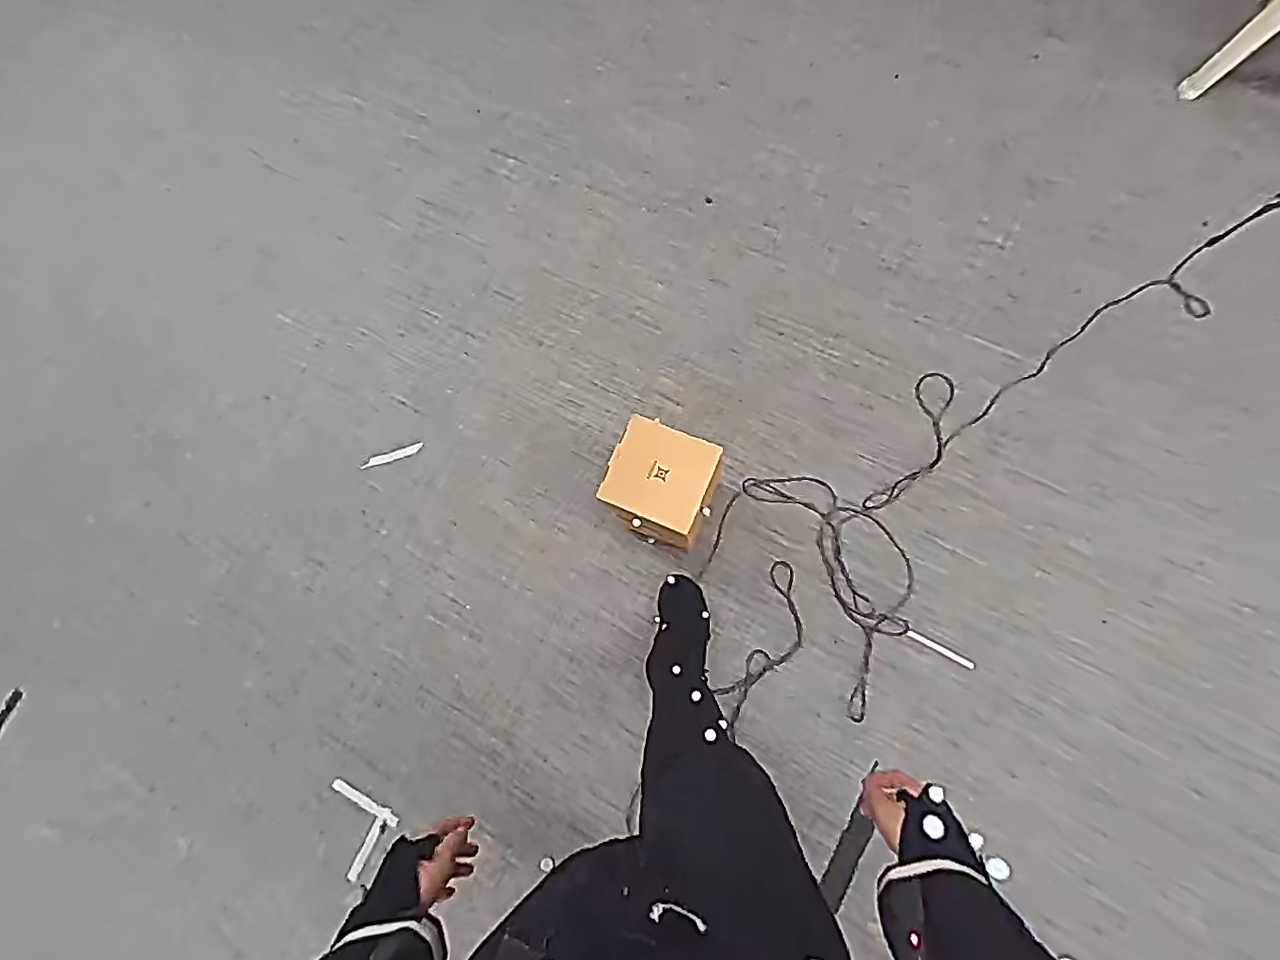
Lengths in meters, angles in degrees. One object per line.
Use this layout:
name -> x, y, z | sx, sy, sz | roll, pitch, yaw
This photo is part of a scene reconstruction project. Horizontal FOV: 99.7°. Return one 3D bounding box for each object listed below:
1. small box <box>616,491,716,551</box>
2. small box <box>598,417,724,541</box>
small box -> 0.065, 0.040, 1.165 | 0.168, 0.176, 0.179 | 19, 82, 12
small box -> 0.047, 0.007, 1.007 | 0.179, 0.176, 0.168 | 21, 82, 13
